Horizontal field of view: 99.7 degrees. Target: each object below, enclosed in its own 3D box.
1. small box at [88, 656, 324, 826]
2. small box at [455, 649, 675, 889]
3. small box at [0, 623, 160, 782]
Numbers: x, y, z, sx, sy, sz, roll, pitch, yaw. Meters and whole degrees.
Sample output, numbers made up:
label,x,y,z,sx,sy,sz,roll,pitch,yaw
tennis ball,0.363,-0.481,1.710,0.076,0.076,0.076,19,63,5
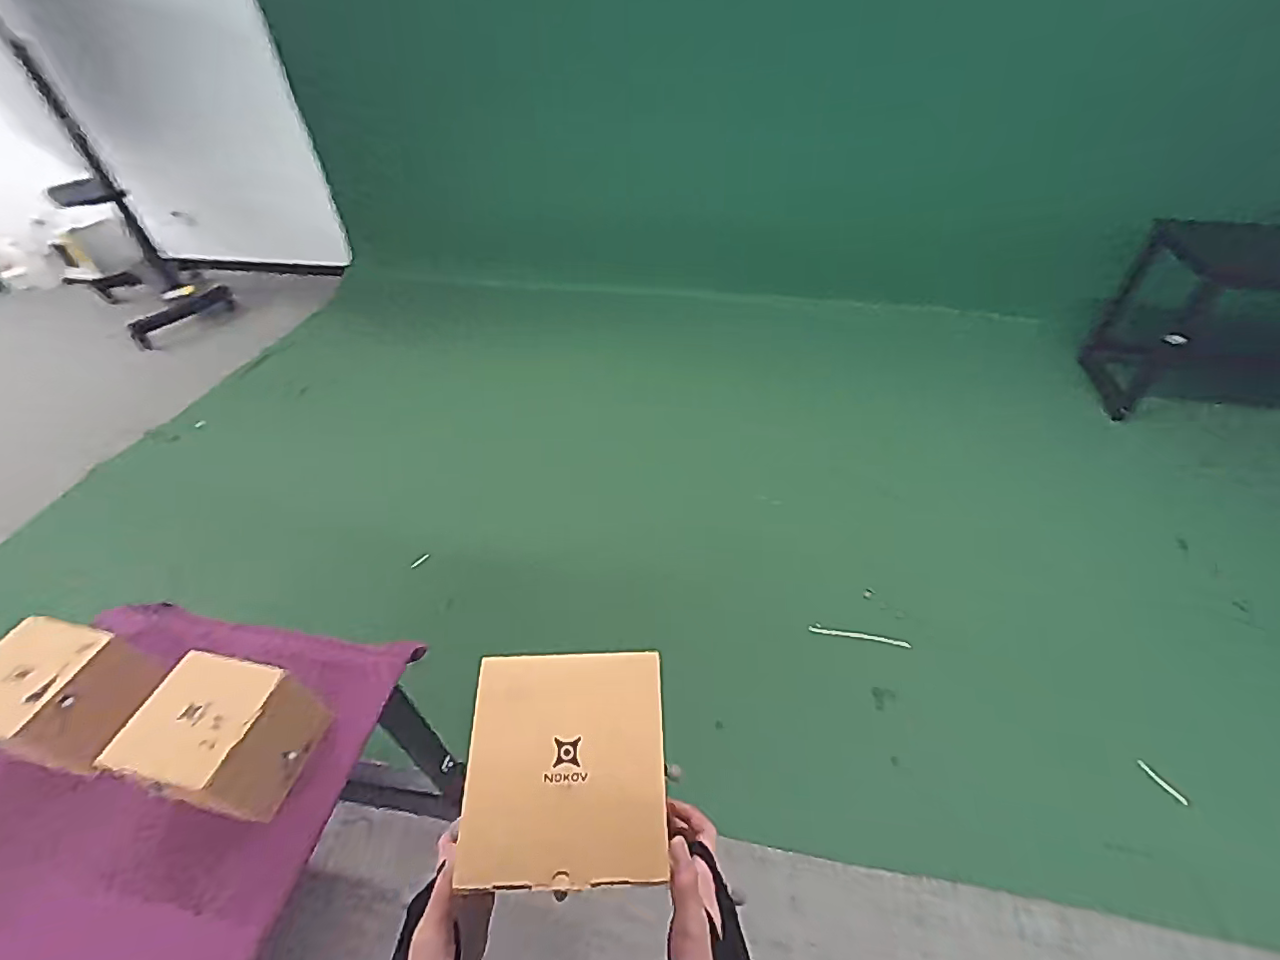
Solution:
label,x,y,z,sx,sy,sz,roll,pitch,yaw
small box,-0.625,0.390,0.806,0.179,0.176,0.168,7,45,10
small box,-0.057,0.272,0.509,0.168,0.176,0.179,-1,56,-1
small box,-0.936,0.356,0.862,0.179,0.176,0.168,7,45,10
